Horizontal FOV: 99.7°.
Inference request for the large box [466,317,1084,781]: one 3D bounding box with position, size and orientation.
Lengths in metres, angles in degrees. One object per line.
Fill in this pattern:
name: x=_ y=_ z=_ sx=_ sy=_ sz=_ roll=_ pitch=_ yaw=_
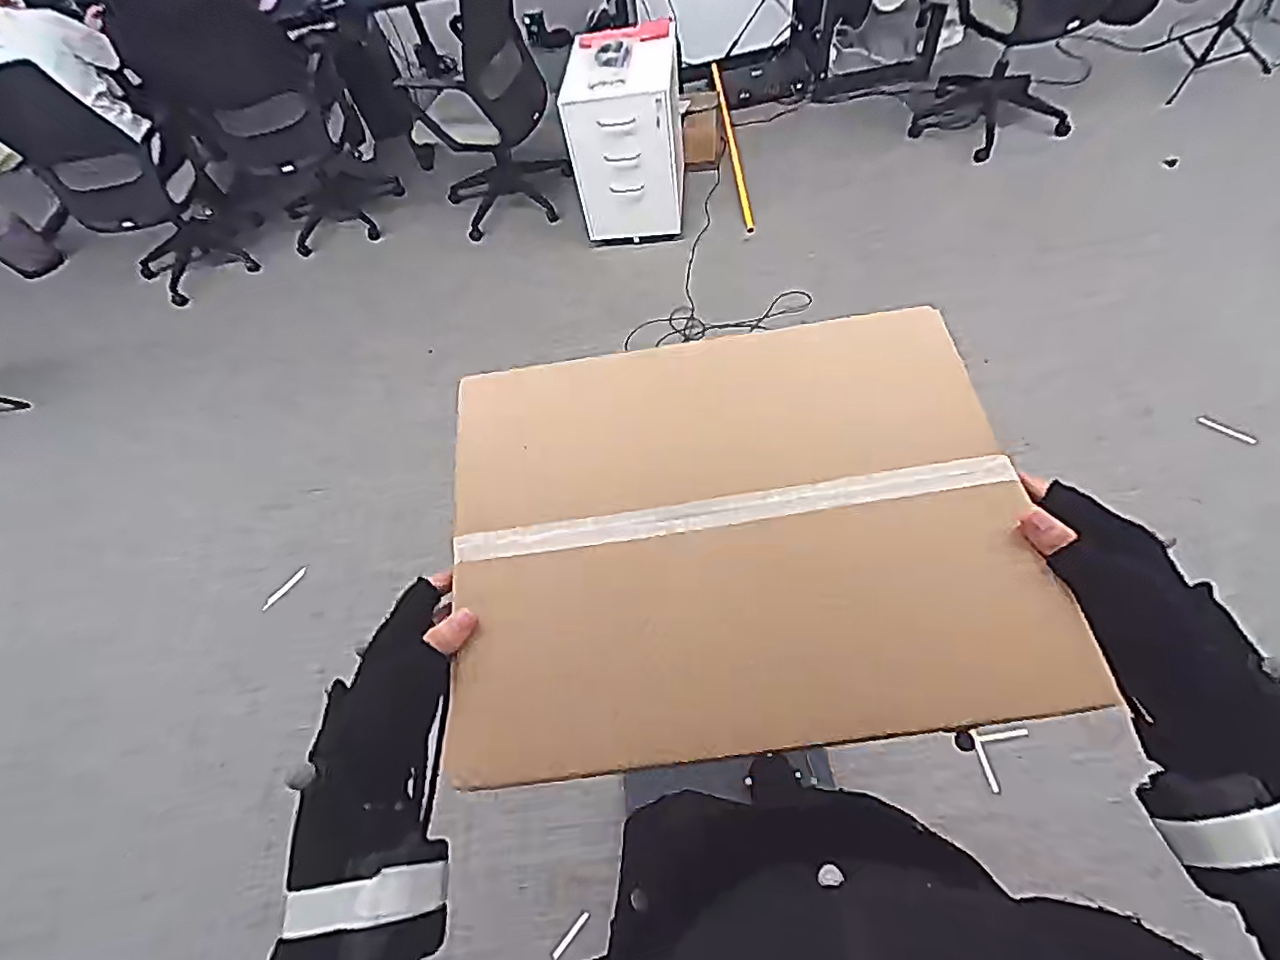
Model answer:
large box: x=0.080 y=0.087 z=0.538 sx=0.408 sy=0.320 sz=0.320 roll=-8 pitch=64 yaw=2
